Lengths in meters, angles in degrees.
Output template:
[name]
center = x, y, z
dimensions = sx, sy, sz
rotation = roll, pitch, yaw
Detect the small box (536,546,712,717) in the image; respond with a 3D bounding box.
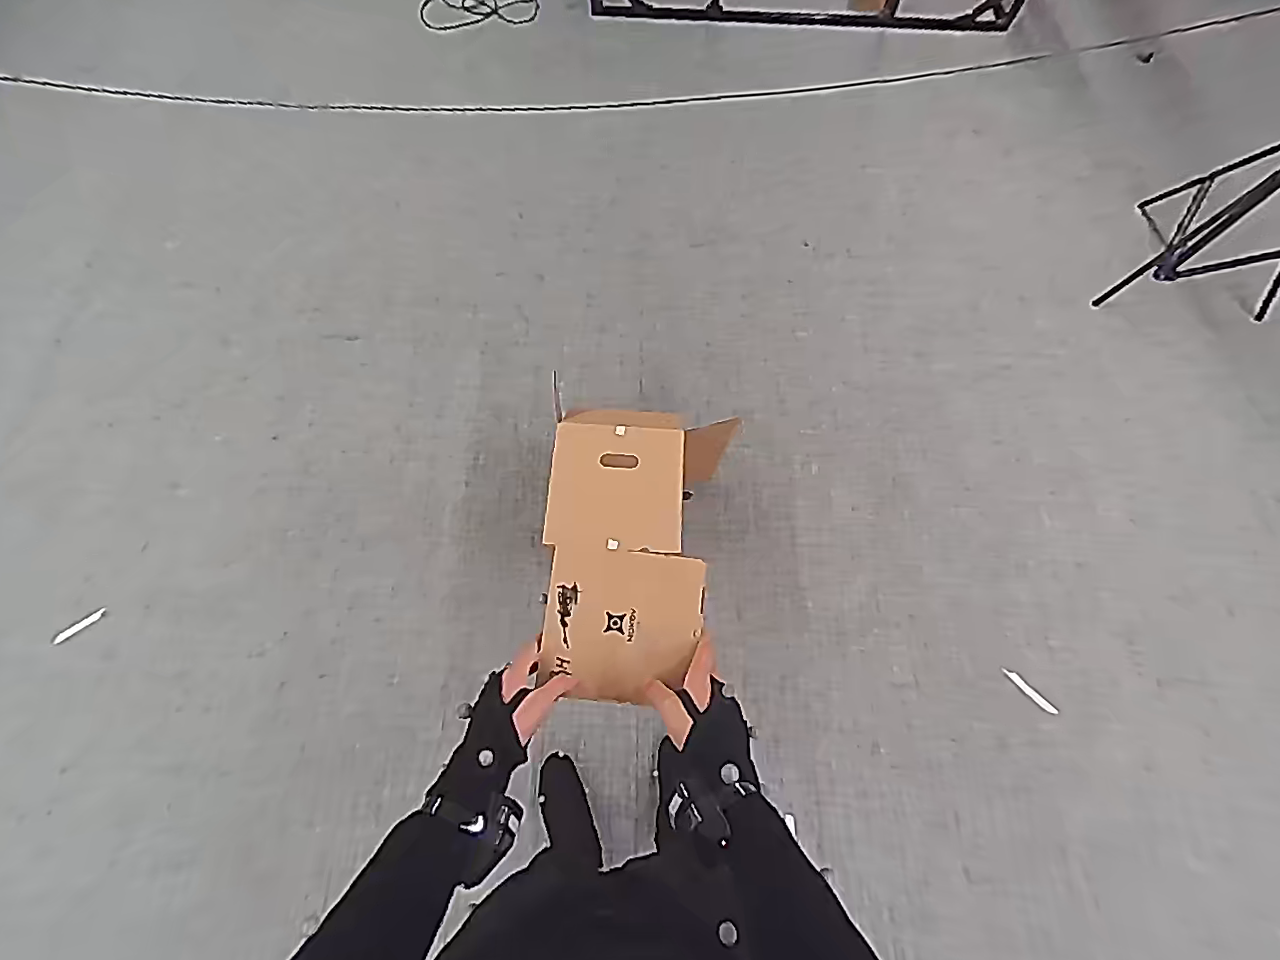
[small box]
center = -0.018, 0.181, 0.671
dimensions = 0.179, 0.176, 0.168
rotation = 7, 76, -1
